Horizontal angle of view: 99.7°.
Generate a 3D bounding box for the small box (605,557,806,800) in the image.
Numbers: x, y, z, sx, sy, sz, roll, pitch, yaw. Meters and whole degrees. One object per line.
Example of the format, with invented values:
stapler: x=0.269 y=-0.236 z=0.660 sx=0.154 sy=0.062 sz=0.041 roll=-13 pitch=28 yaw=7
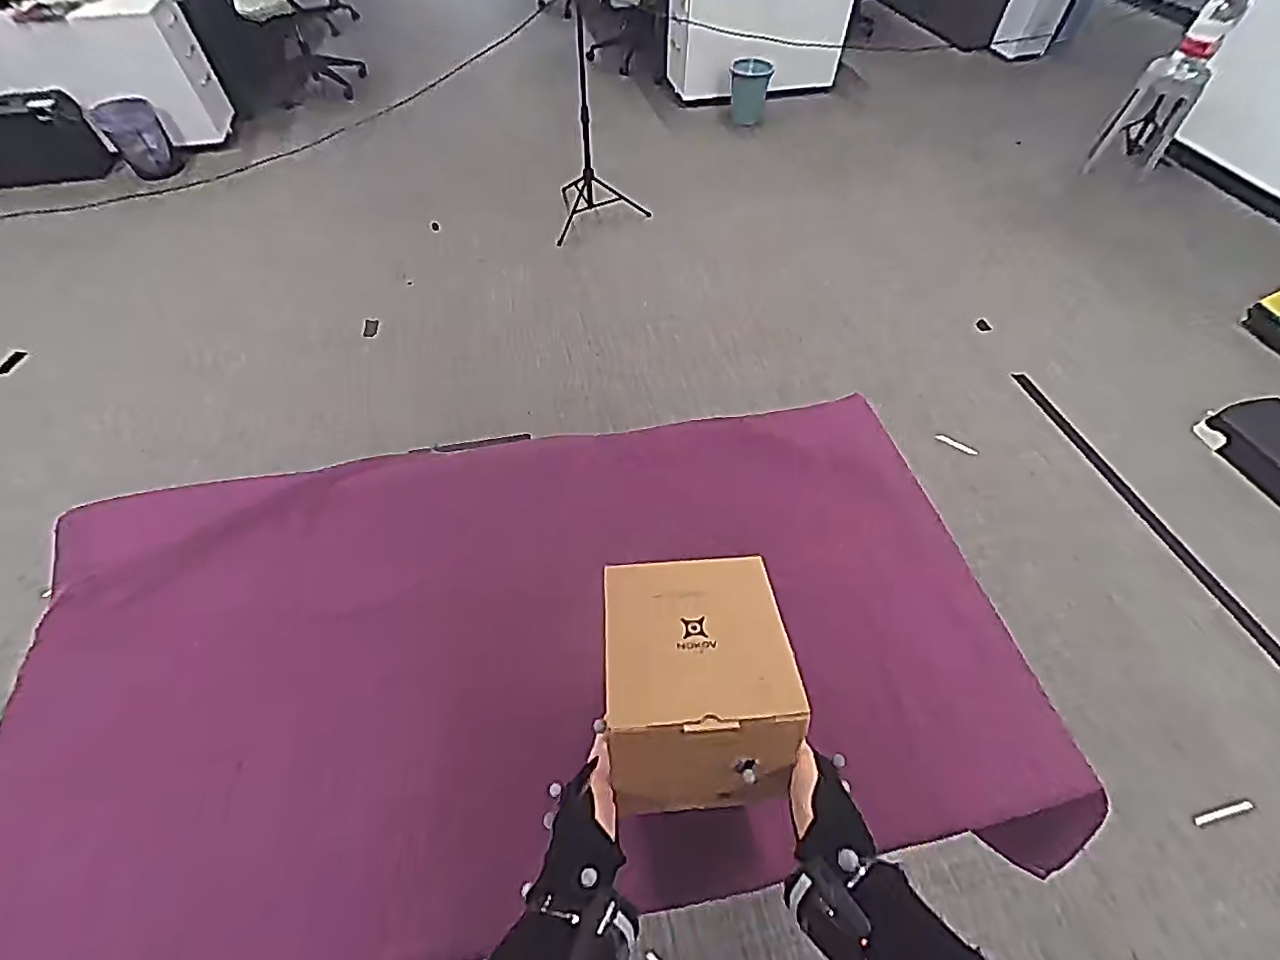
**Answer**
small box: x=0.052 y=0.201 z=0.544 sx=0.168 sy=0.176 sz=0.179 roll=-3 pitch=38 yaw=-2
